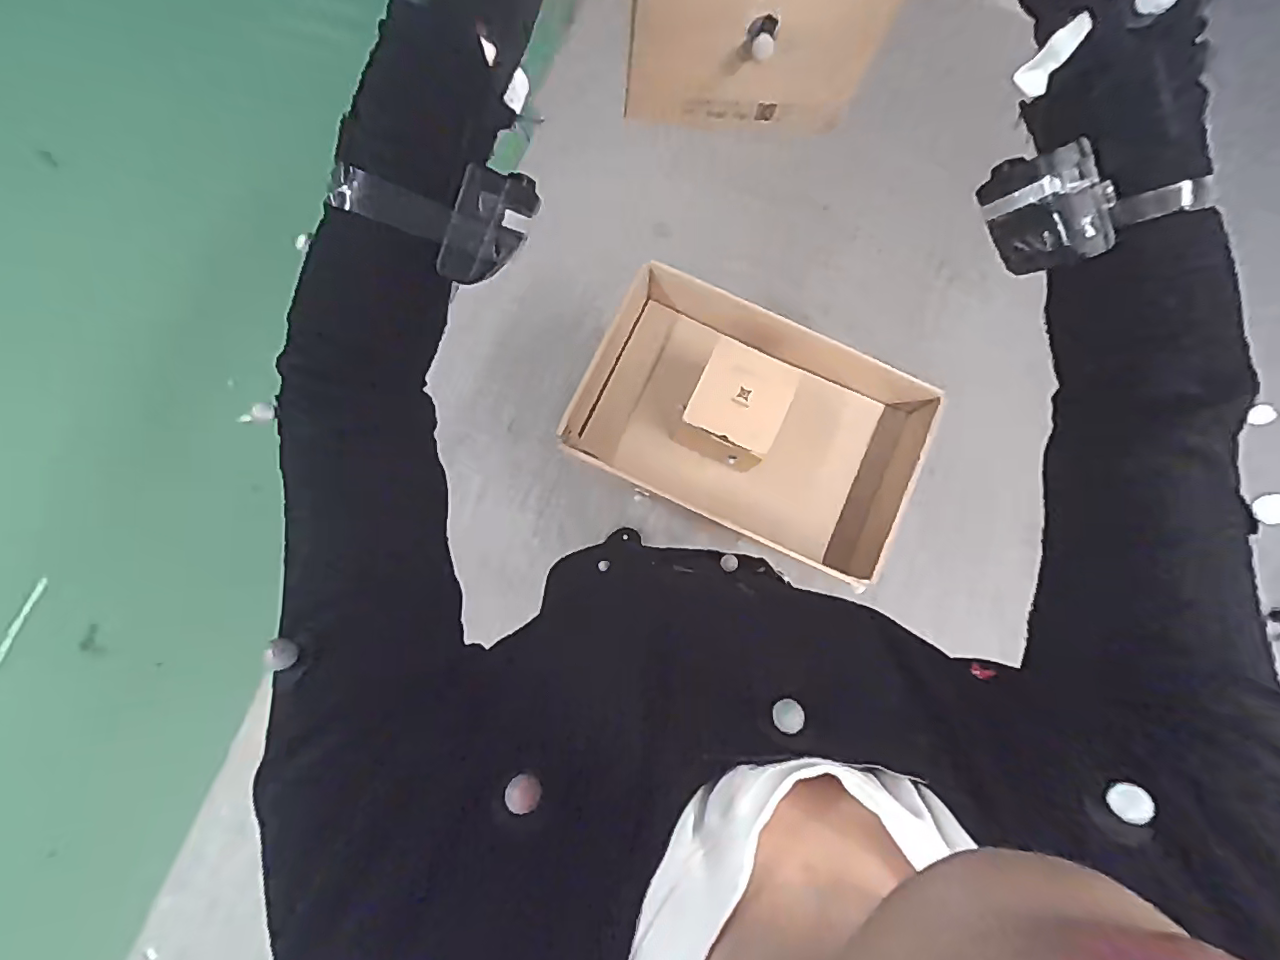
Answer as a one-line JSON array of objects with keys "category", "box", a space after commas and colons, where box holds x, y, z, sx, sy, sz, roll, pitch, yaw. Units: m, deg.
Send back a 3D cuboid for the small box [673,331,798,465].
[{"category": "small box", "box": [0.171, -0.145, 1.031, 0.168, 0.176, 0.179, 25, 81, 0]}]
